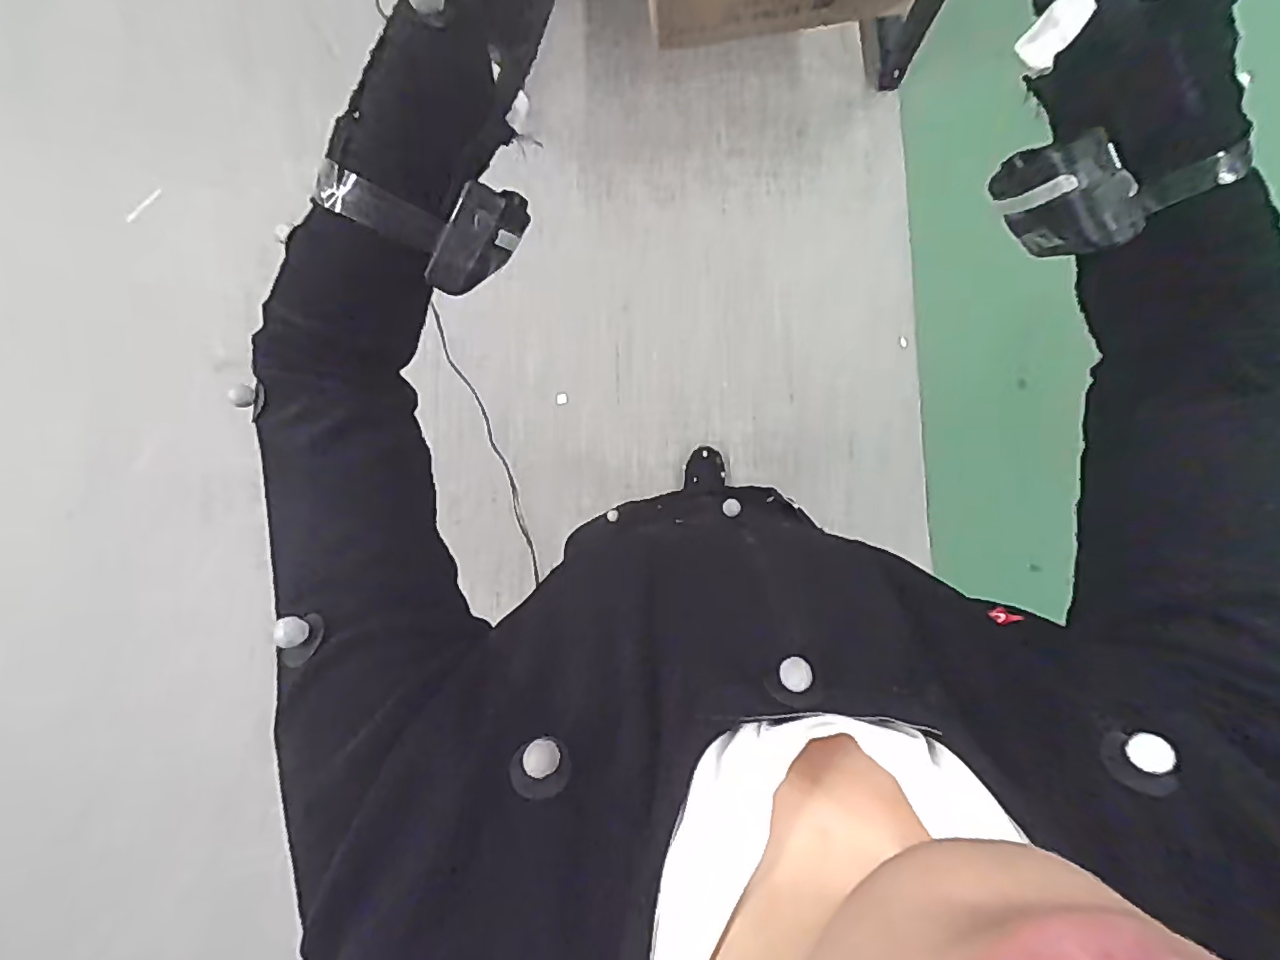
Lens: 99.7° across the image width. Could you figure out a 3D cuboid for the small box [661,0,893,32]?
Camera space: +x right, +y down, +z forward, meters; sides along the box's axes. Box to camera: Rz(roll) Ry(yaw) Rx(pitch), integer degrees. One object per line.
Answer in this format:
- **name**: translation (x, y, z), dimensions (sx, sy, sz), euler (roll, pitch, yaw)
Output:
- **small box**: translation (0.081, -0.392, 0.279), dimensions (0.168, 0.176, 0.179), euler (-8, 83, 2)
